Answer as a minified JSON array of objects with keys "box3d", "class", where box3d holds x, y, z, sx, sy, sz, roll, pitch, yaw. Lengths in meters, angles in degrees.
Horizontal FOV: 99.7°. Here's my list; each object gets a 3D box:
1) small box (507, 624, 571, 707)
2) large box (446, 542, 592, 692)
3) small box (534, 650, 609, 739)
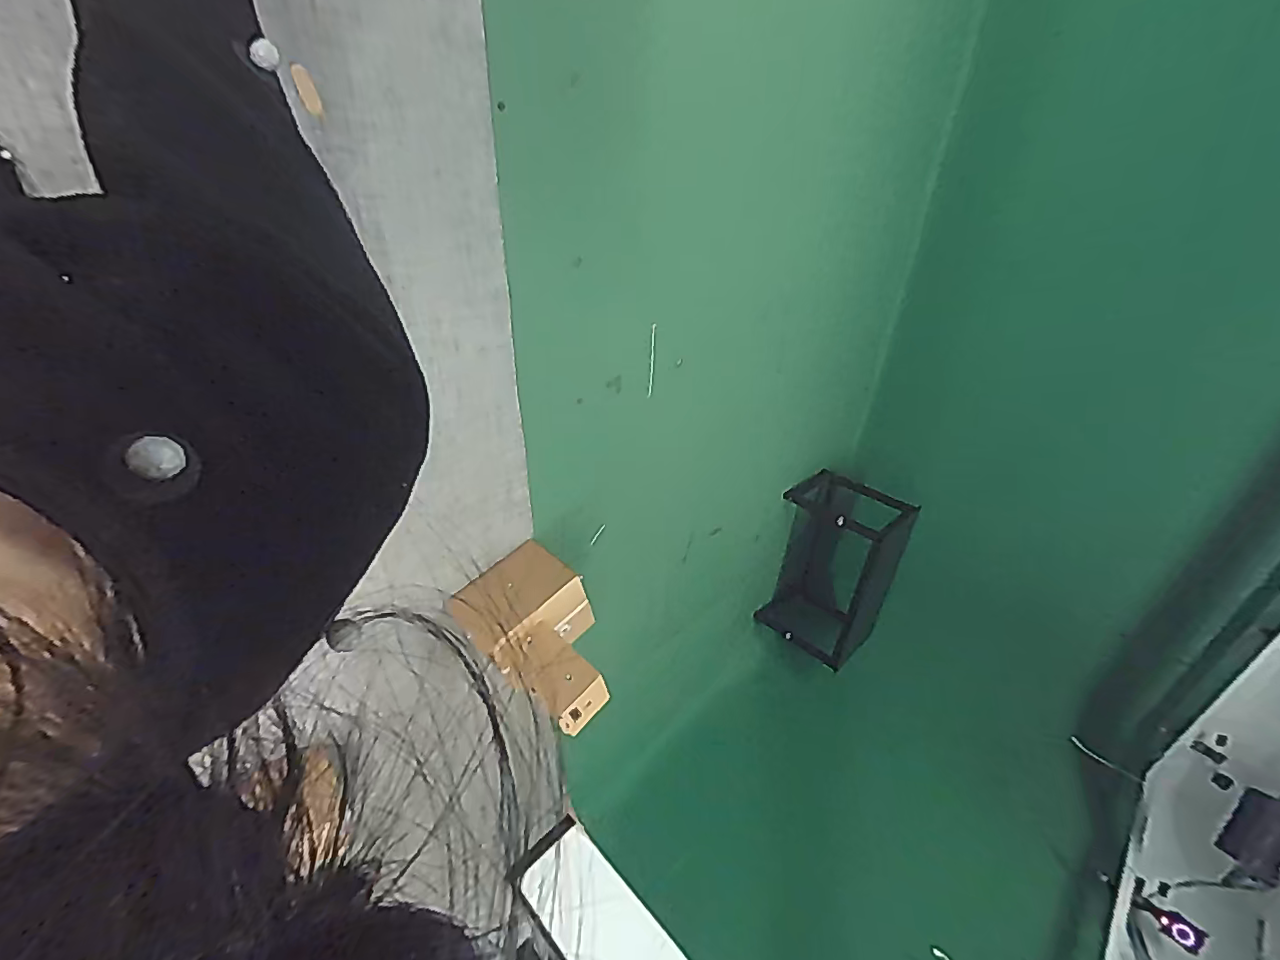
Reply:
[{"box3d":[-0.350,0.648,1.901,0.179,0.176,0.168,-34,136,-31],"class":"small box"},{"box3d":[-0.461,0.520,2.098,0.408,0.320,0.320,-39,139,-28],"class":"large box"},{"box3d":[-0.234,0.711,1.803,0.179,0.176,0.168,-39,138,-29],"class":"small box"}]
